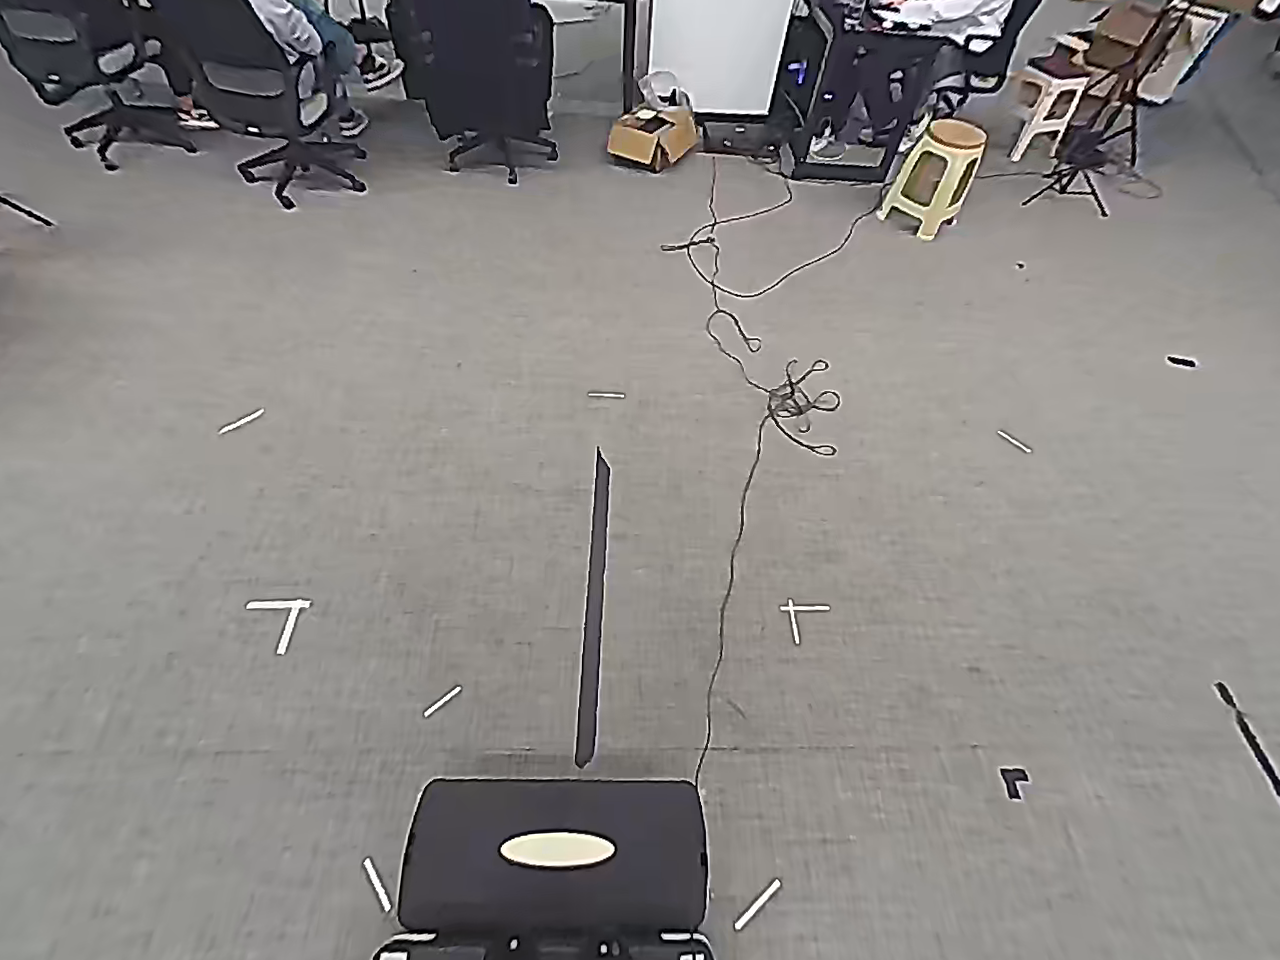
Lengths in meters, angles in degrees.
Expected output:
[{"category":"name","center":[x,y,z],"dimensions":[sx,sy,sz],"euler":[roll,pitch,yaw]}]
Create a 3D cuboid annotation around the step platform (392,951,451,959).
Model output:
[{"category":"step platform","center":[-0.178,1.081,0.987],"dimensions":[0.684,0.204,0.286],"euler":[5,52,1]}]
